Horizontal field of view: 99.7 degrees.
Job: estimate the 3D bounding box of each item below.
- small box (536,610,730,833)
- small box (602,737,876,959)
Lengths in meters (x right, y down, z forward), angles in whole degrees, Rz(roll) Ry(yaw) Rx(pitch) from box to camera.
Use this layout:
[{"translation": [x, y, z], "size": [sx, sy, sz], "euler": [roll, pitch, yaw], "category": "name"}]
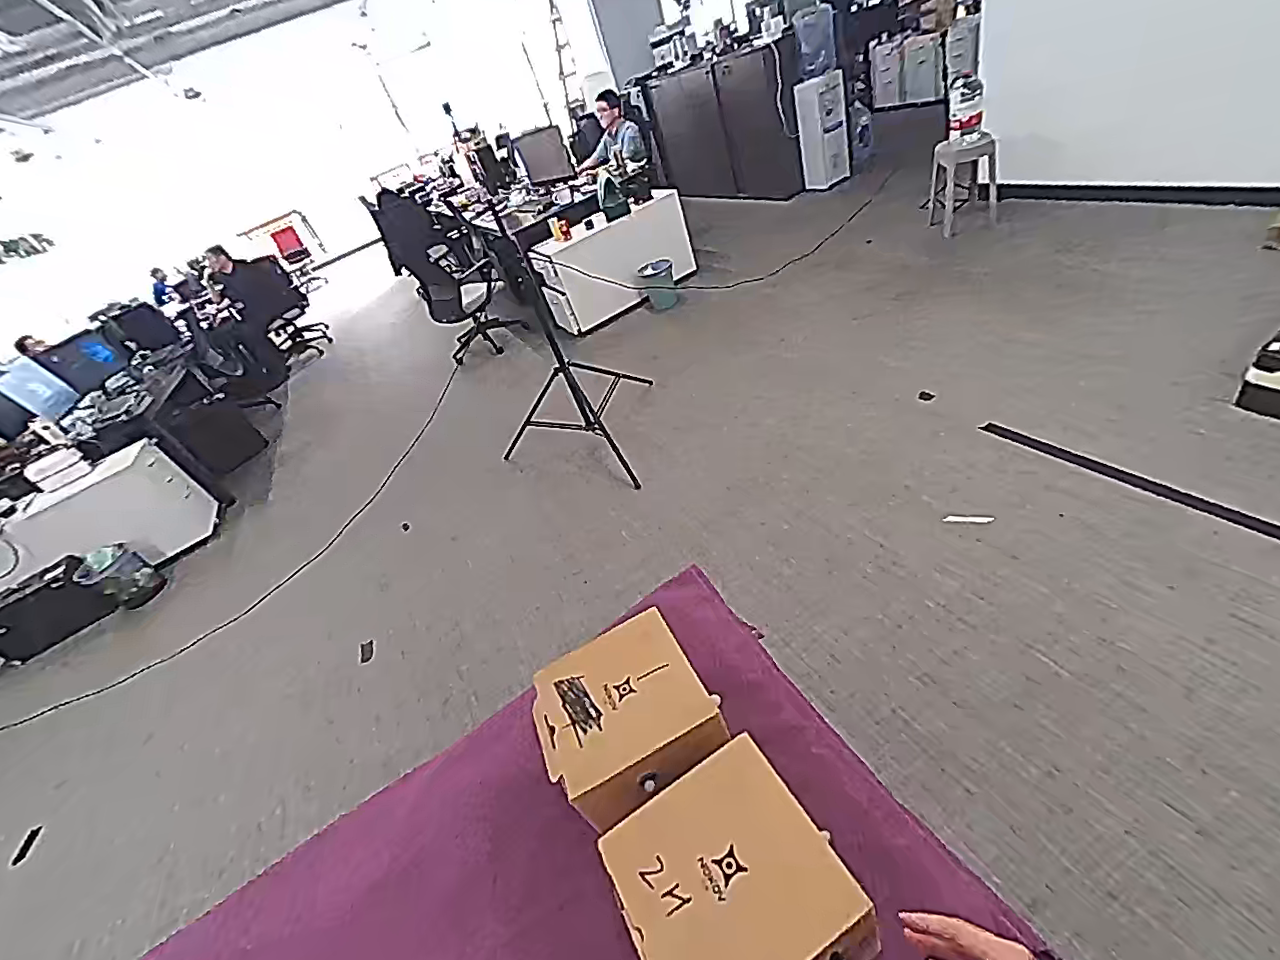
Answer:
[{"translation": [-0.001, 0.303, 0.664], "size": [0.179, 0.176, 0.168], "euler": [-27, 39, -8], "category": "small box"}, {"translation": [0.094, 0.390, 0.506], "size": [0.179, 0.176, 0.168], "euler": [-31, 39, -10], "category": "small box"}]
